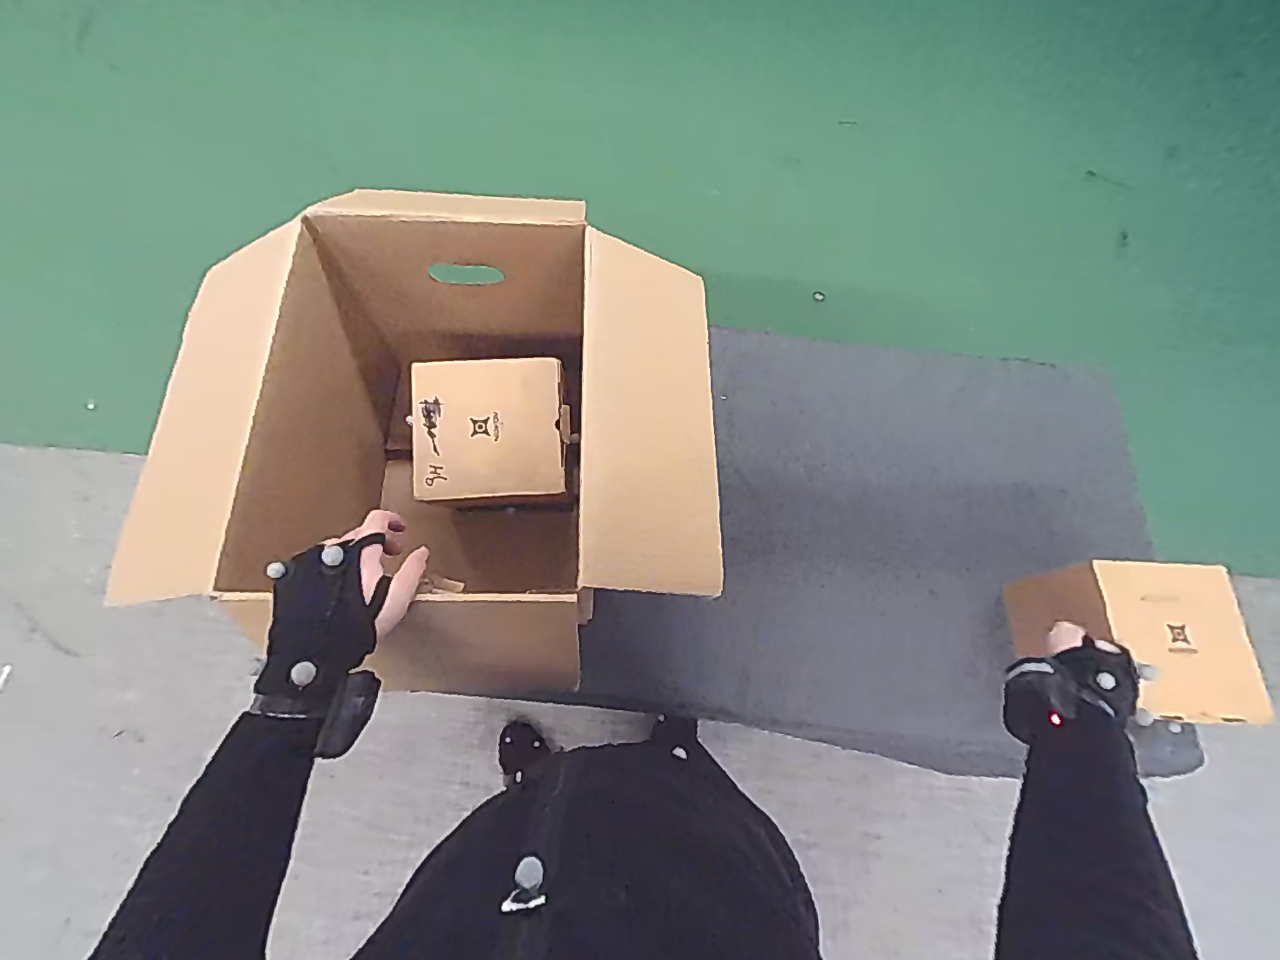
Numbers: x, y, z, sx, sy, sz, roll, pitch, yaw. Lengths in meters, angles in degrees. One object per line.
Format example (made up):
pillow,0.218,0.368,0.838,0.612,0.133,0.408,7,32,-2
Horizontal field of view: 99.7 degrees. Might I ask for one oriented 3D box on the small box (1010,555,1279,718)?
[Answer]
small box,0.623,0.203,0.695,0.168,0.176,0.179,3,69,-1
